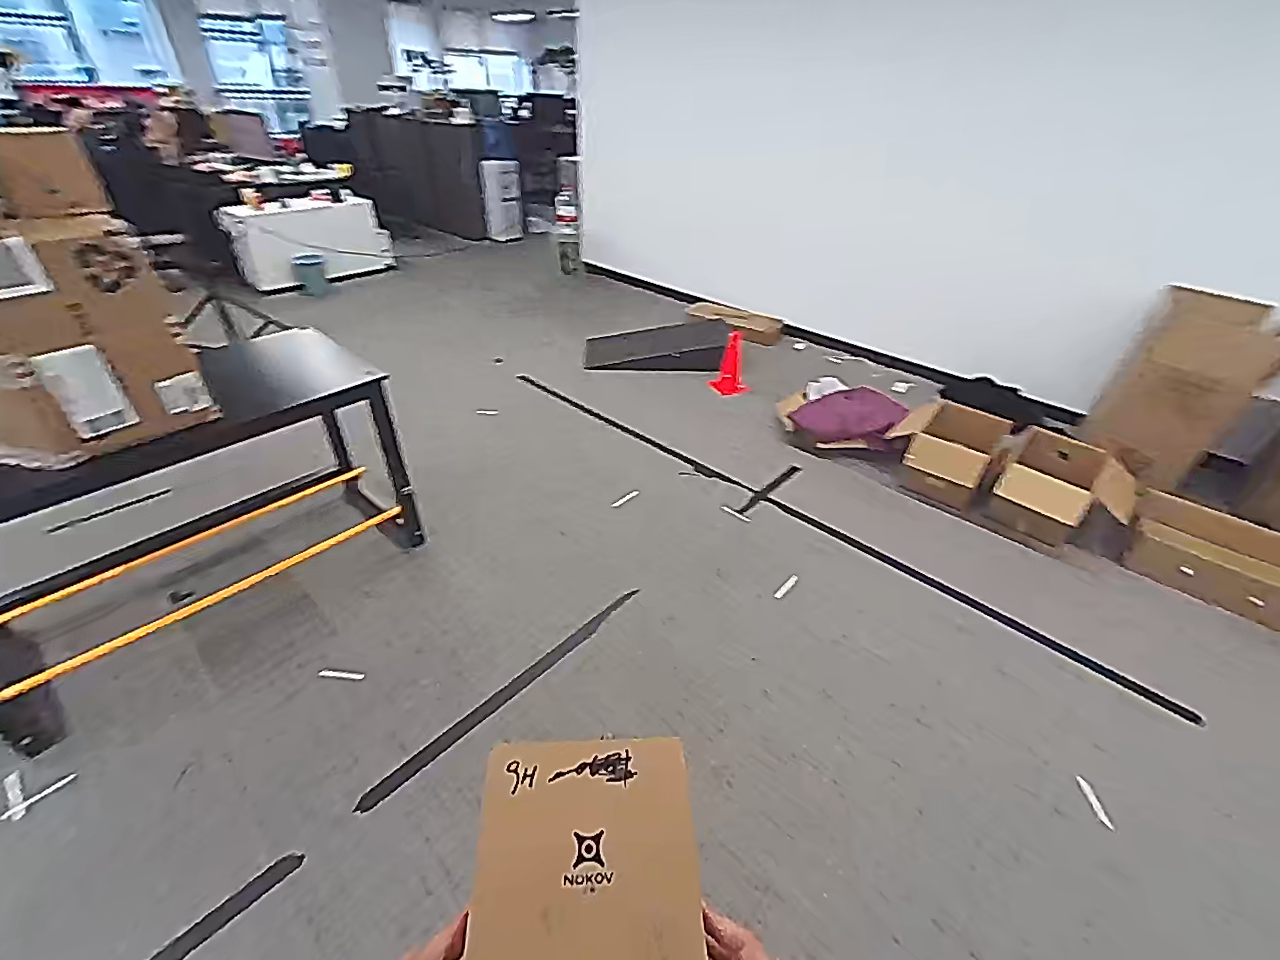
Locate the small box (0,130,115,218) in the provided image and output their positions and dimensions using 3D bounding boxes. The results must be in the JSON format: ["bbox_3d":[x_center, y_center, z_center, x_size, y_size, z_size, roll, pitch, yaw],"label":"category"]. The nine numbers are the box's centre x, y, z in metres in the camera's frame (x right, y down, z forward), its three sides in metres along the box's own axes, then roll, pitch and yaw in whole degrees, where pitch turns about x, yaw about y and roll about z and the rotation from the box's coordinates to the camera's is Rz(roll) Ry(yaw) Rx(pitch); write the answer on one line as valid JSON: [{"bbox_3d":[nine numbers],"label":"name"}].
[{"bbox_3d":[-1.400,-0.722,1.274,0.179,0.176,0.168,25,42,30],"label":"small box"}]
